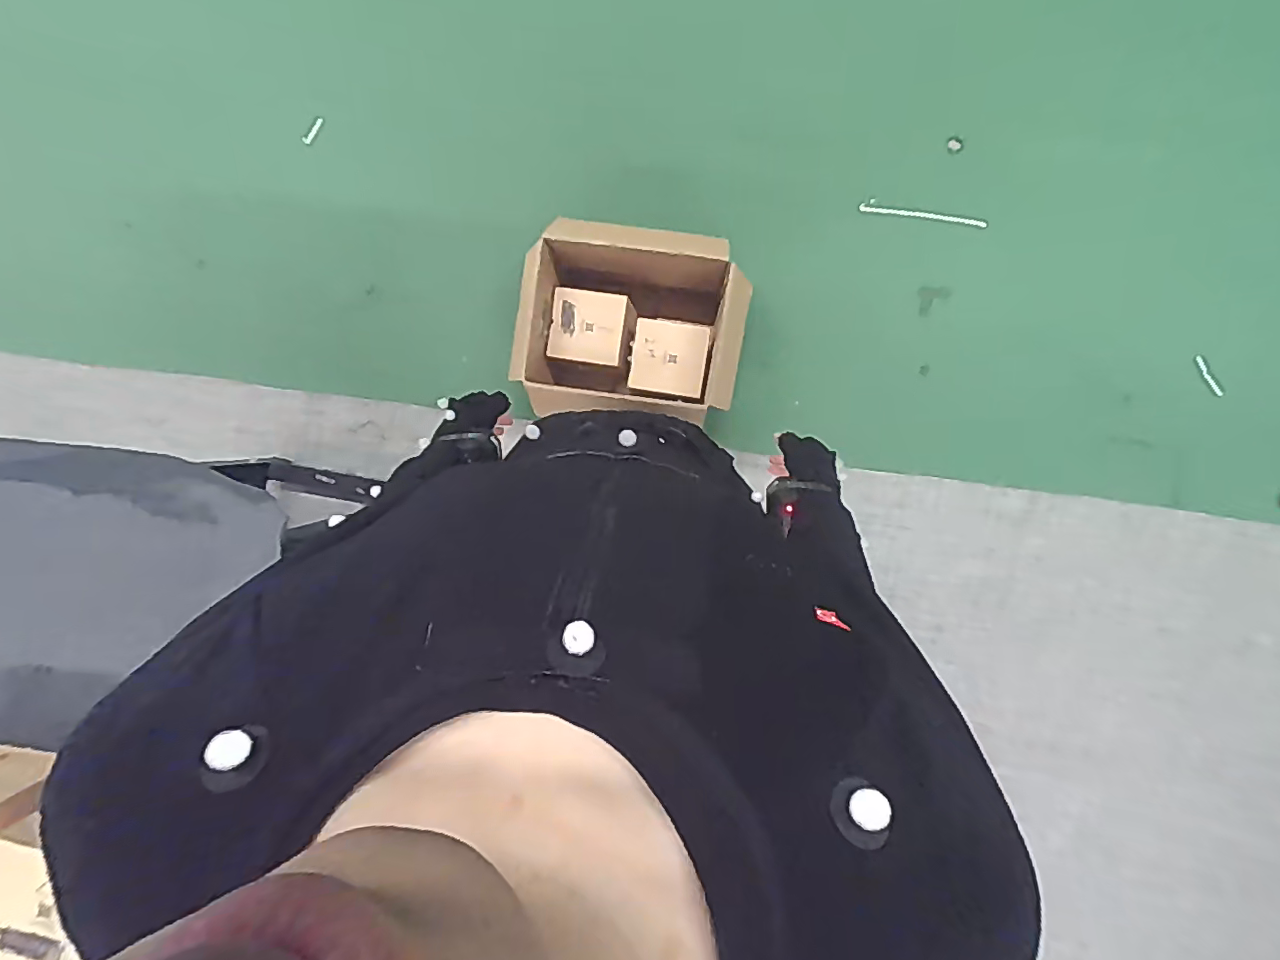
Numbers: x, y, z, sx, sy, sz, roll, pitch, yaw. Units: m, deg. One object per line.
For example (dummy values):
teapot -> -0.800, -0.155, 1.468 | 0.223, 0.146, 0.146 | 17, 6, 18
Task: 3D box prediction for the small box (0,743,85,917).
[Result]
small box -> -0.945, 0.502, 0.763 | 0.168, 0.176, 0.179 | 6, 96, 3
